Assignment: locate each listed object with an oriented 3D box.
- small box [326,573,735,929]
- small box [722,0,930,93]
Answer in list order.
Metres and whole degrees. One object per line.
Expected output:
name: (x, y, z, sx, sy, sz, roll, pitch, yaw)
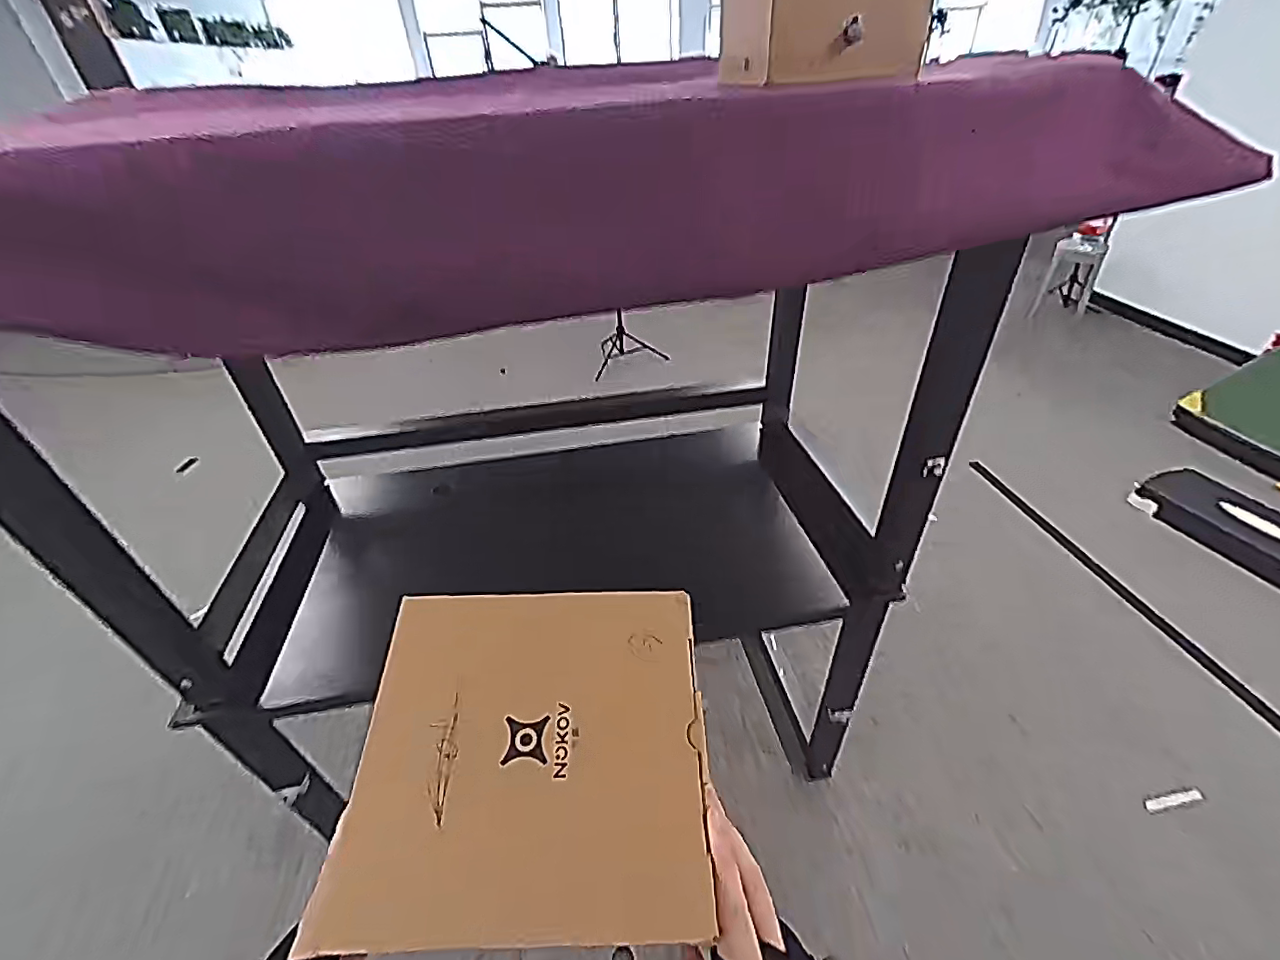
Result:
small box: (-0.047, 0.171, 0.339, 0.179, 0.176, 0.168, -1, 51, 0)
small box: (0.196, -0.528, 0.581, 0.179, 0.176, 0.168, -9, 37, -7)
